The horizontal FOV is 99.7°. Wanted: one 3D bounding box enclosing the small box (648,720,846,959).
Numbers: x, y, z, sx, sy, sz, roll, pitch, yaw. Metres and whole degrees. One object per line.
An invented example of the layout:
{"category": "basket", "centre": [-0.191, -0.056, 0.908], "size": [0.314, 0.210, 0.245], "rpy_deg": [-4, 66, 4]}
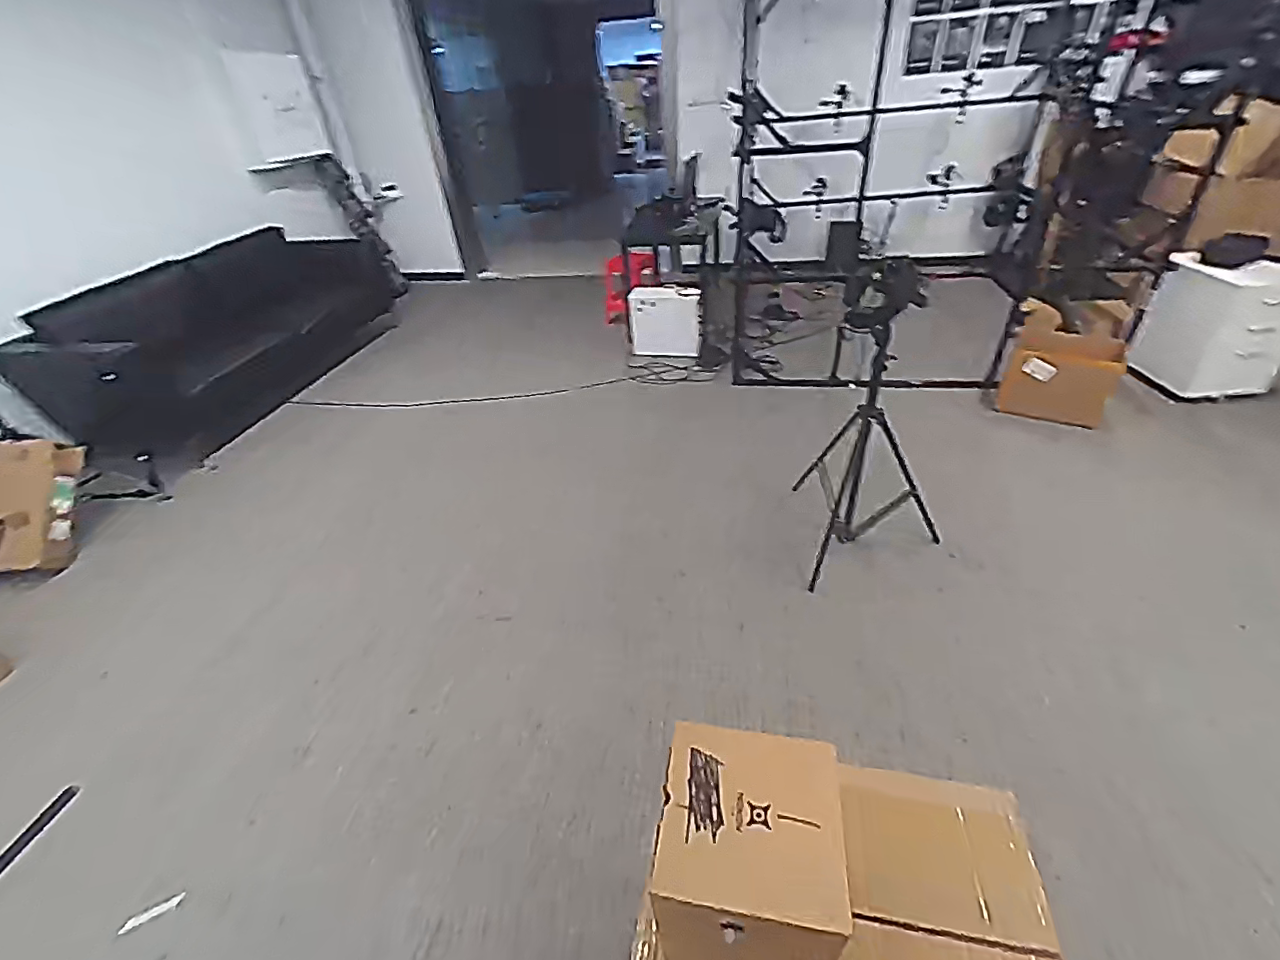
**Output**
{"category": "small box", "centre": [0.114, 0.389, 0.582], "size": [0.179, 0.176, 0.168], "rpy_deg": [3, 38, 12]}
